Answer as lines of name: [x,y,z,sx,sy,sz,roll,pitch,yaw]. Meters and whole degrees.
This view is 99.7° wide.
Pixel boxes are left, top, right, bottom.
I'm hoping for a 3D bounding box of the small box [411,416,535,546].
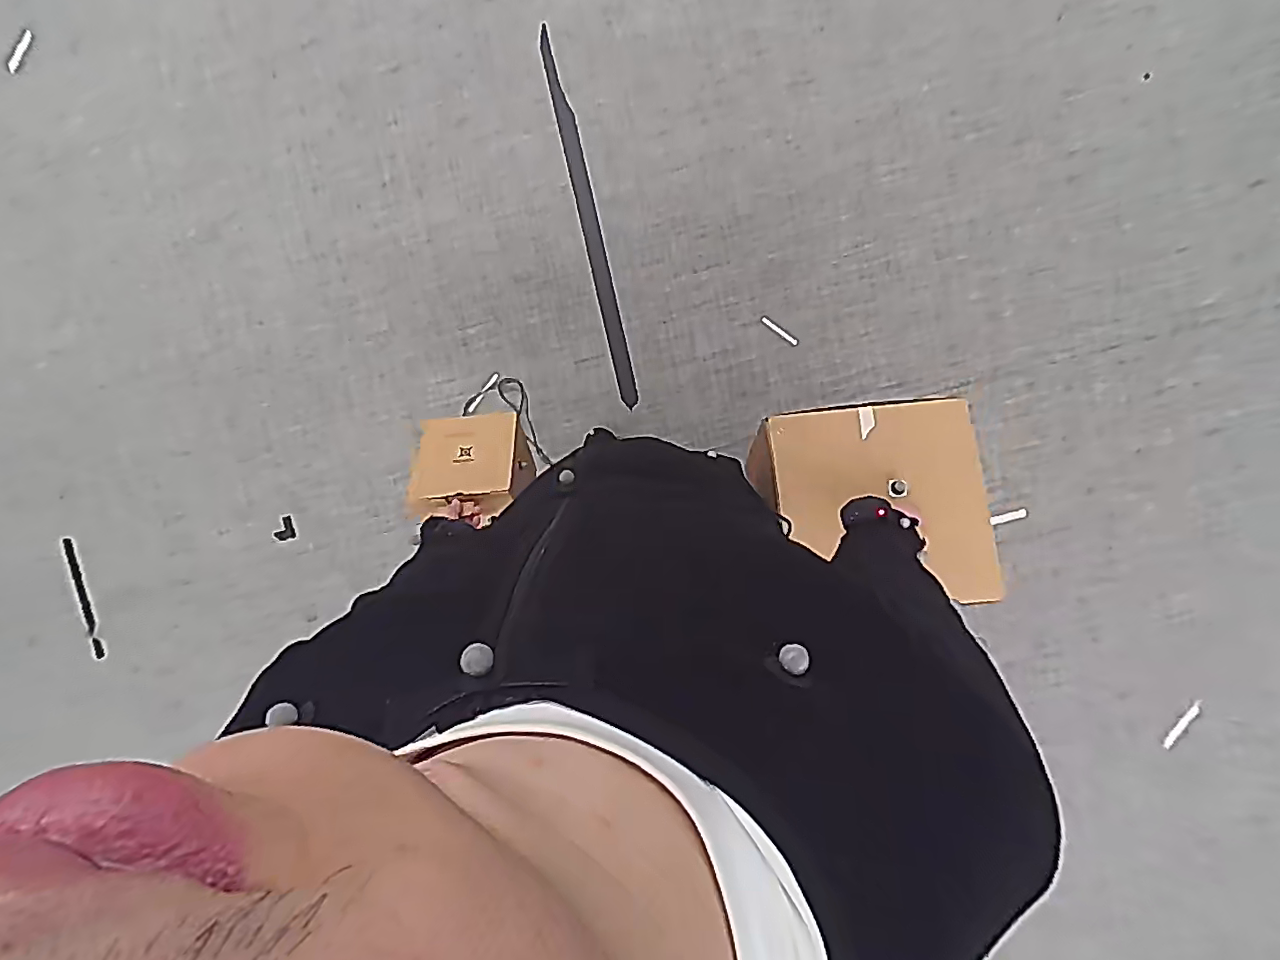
small box: [-0.291,0.009,0.986,0.168,0.176,0.179,-5,52,0]
